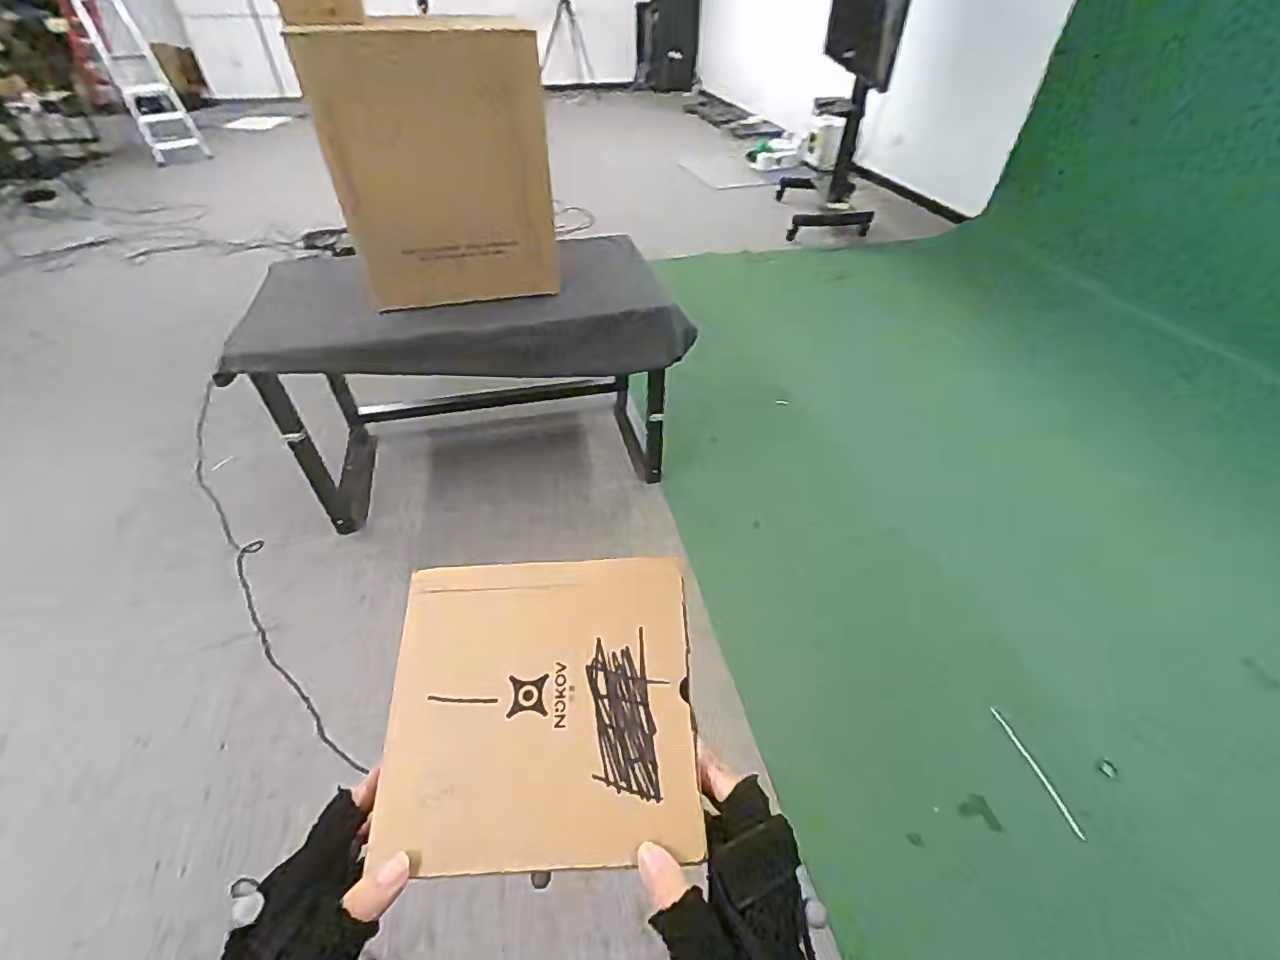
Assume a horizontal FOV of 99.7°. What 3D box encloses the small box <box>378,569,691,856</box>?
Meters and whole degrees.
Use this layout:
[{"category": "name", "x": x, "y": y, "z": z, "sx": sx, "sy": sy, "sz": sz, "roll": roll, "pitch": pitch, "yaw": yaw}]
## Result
[{"category": "small box", "x": -0.060, "y": 0.173, "z": 0.407, "sx": 0.179, "sy": 0.176, "sz": 0.168, "roll": -2, "pitch": 60, "yaw": 0}]
